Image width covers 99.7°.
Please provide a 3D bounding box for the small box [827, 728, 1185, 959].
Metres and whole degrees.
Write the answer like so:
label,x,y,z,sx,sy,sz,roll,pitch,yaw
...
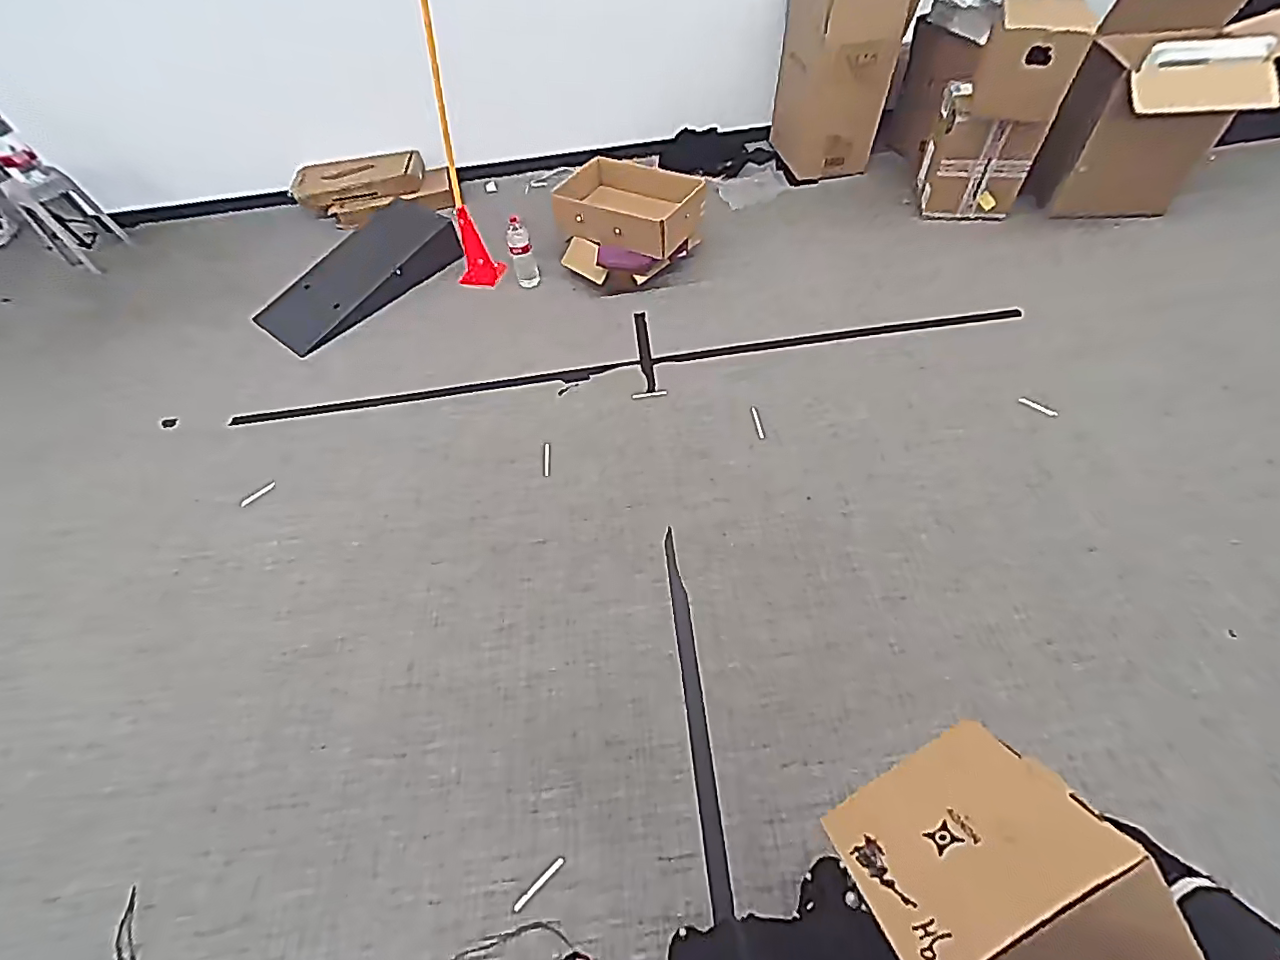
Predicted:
label,x,y,z,sx,sy,sz,roll,pitch,yaw
small box,0.297,0.358,0.449,0.179,0.168,0.176,-32,97,-2
